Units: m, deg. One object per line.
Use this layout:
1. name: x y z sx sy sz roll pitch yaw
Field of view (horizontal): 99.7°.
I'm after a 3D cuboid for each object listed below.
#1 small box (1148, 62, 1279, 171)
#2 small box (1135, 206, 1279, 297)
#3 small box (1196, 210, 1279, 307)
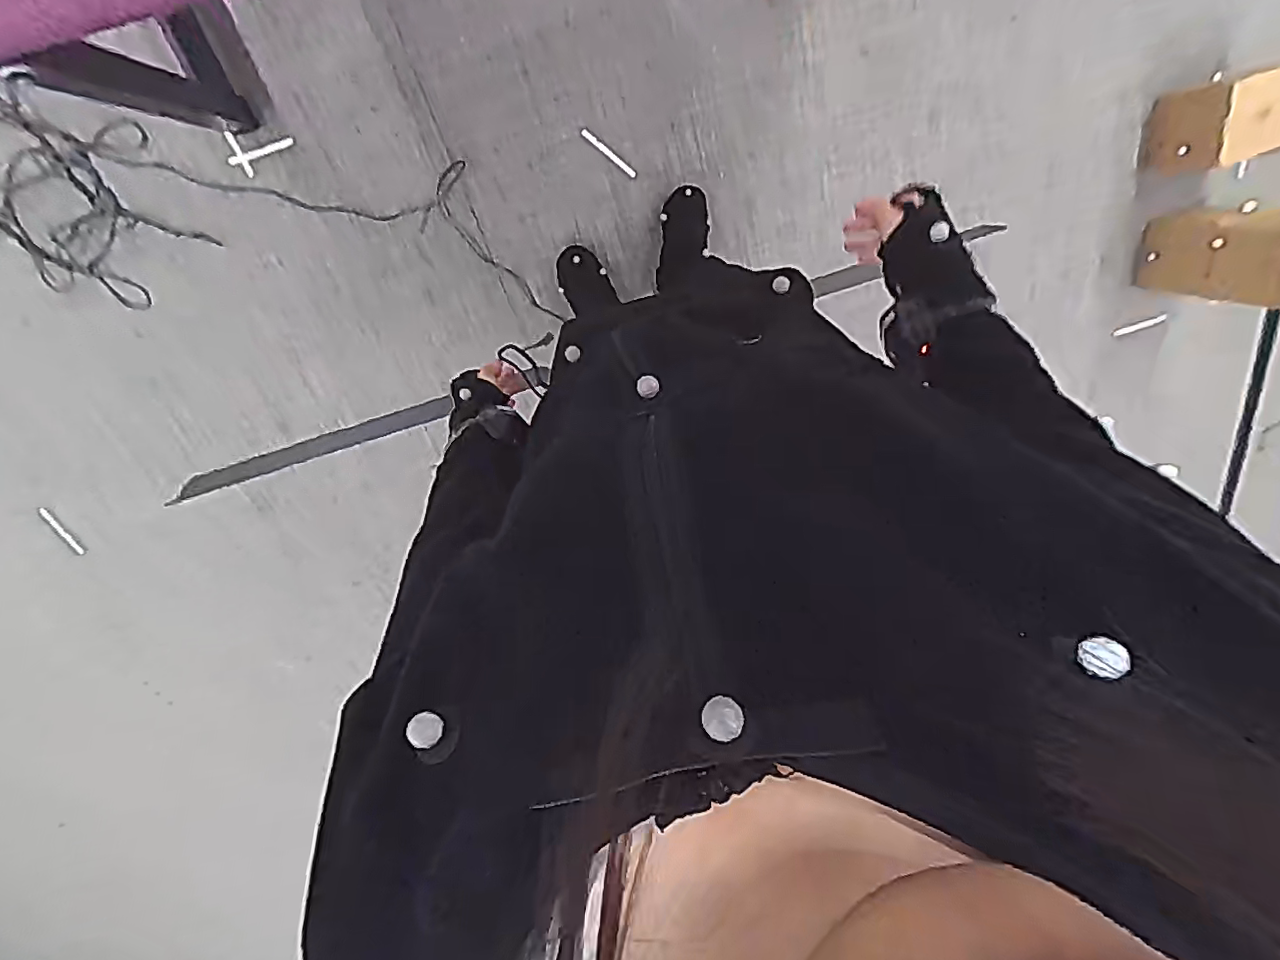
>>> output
1. small box: 1.325 -0.824 1.235 0.179 0.176 0.168 -20 119 0
2. small box: 1.418 -0.583 1.370 0.168 0.176 0.179 -14 118 -2
3. small box: 1.436 -0.505 1.225 0.179 0.176 0.168 -16 118 -2
